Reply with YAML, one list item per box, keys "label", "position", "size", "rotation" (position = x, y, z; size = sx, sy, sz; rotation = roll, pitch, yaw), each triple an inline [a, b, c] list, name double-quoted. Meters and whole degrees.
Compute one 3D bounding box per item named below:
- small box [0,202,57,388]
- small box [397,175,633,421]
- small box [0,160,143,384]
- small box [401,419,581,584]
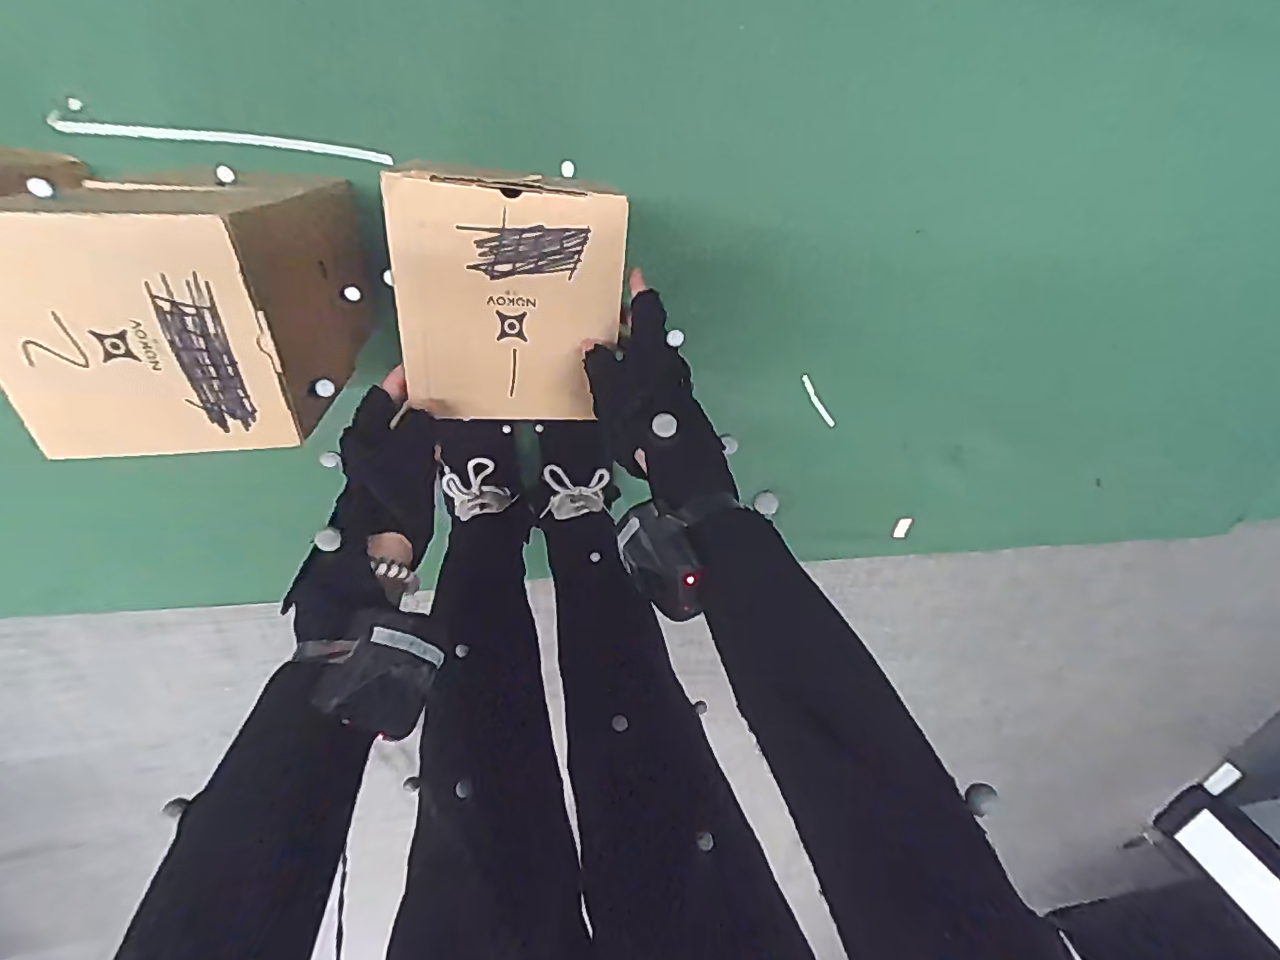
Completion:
- label: "small box"
  position: [-0.608, -0.137, 0.389]
  size: [0.179, 0.176, 0.168]
  rotation: [2, 120, -13]
- label: "small box"
  position: [-0.109, -0.166, 0.483]
  size: [0.168, 0.176, 0.179]
  rotation: [-1, 120, -13]
- label: "small box"
  position: [-0.648, -0.212, 0.532]
  size: [0.168, 0.176, 0.179]
  rotation: [3, 119, -13]
- label: "small box"
  position: [-0.214, 0.012, 0.779]
  size: [0.179, 0.176, 0.168]
  rotation: [35, 119, -9]
